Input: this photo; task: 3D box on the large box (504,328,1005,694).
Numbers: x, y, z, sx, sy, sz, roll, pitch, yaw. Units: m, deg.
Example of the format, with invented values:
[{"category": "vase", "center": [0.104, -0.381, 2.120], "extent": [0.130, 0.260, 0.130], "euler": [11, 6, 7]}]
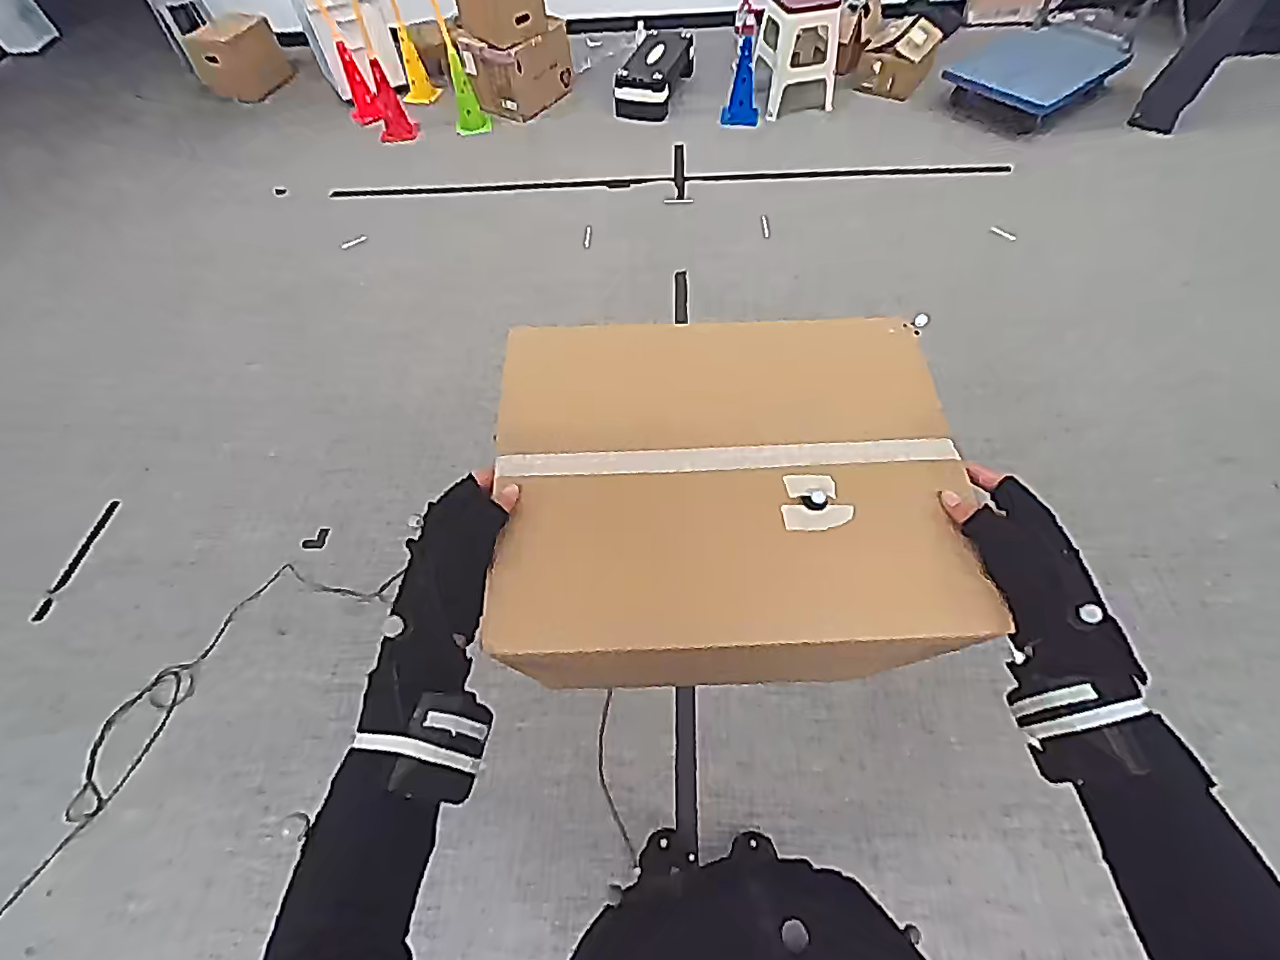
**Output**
[{"category": "large box", "center": [0.081, 0.055, 0.616], "extent": [0.408, 0.320, 0.320], "euler": [-2, 64, -2]}]
